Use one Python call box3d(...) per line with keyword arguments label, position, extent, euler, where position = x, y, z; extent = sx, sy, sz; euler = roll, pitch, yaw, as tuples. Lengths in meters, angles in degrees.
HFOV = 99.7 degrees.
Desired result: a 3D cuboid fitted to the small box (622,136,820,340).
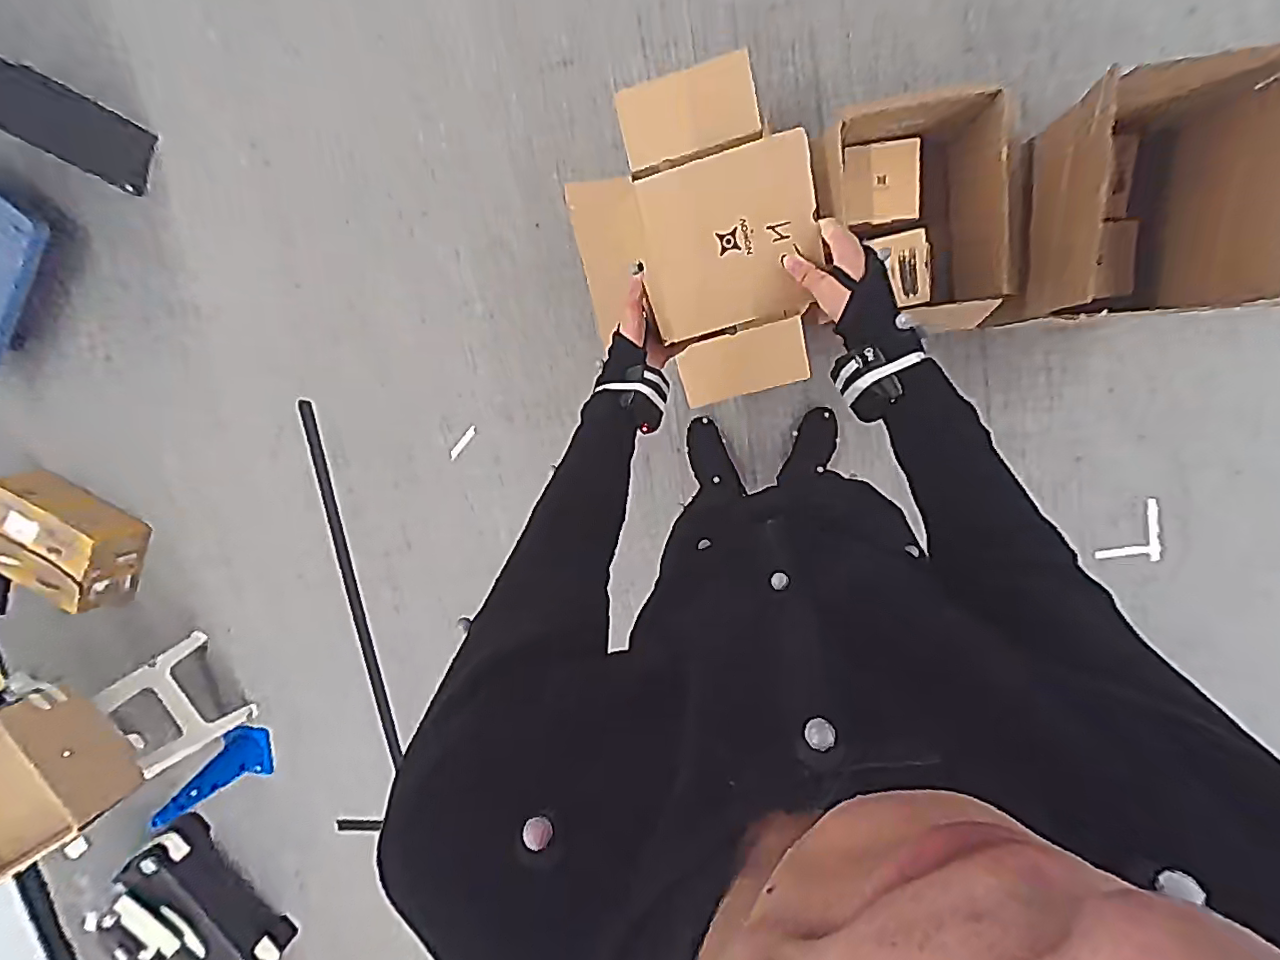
box3d(label="small box", position=(0.083, -0.270, 0.640), extent=(0.179, 0.176, 0.168), euler=(-18, 109, -4))
